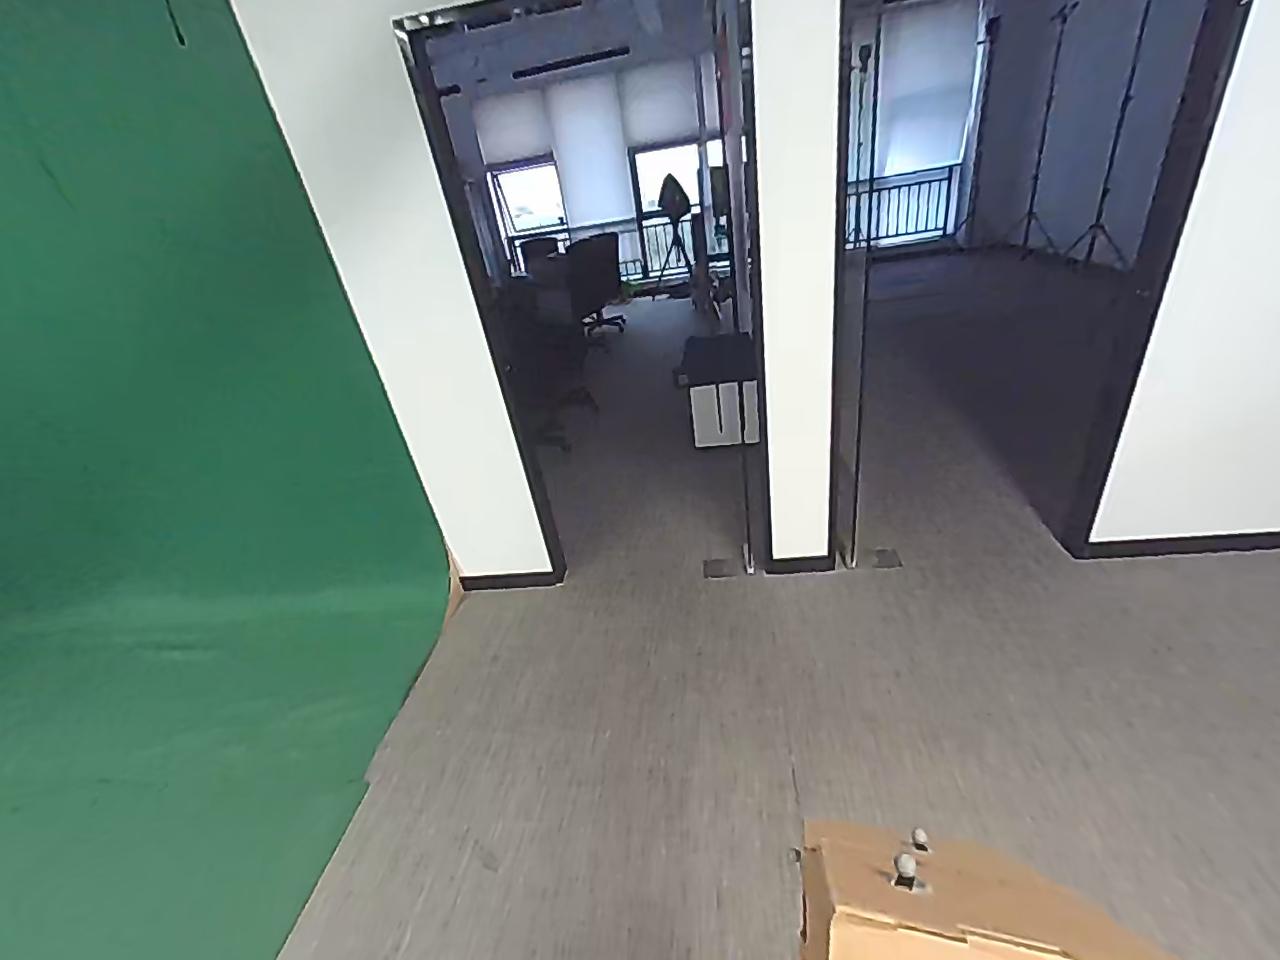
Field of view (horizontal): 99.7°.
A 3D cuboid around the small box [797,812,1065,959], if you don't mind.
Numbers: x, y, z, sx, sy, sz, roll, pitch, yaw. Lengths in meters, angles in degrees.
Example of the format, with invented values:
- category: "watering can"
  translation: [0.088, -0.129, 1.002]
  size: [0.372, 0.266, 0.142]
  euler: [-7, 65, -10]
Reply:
- category: "small box"
  translation: [0.221, 0.379, 0.433]
  size: [0.179, 0.176, 0.168]
  euler: [-2, 67, 16]

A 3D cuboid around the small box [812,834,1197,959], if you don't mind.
- category: "small box"
  translation: [0.180, 0.316, 0.289]
  size: [0.168, 0.176, 0.179]
  euler: [2, 69, 18]
